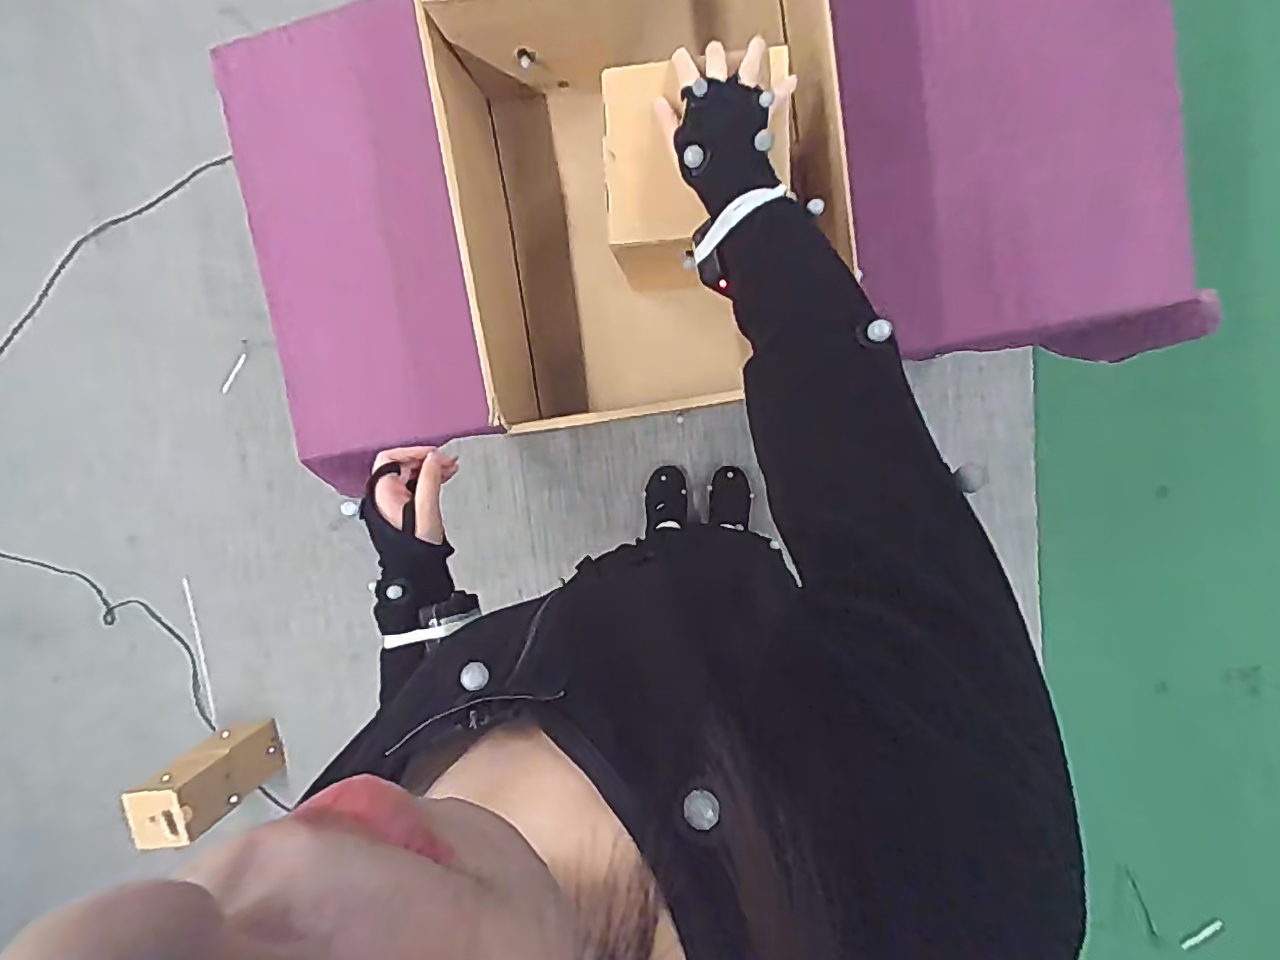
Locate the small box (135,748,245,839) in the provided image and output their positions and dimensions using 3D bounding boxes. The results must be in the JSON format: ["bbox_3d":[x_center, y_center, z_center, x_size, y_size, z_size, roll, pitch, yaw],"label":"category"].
[{"bbox_3d":[-1.292,0.905,1.570,0.179,0.176,0.168,-9,94,11],"label":"small box"}]
